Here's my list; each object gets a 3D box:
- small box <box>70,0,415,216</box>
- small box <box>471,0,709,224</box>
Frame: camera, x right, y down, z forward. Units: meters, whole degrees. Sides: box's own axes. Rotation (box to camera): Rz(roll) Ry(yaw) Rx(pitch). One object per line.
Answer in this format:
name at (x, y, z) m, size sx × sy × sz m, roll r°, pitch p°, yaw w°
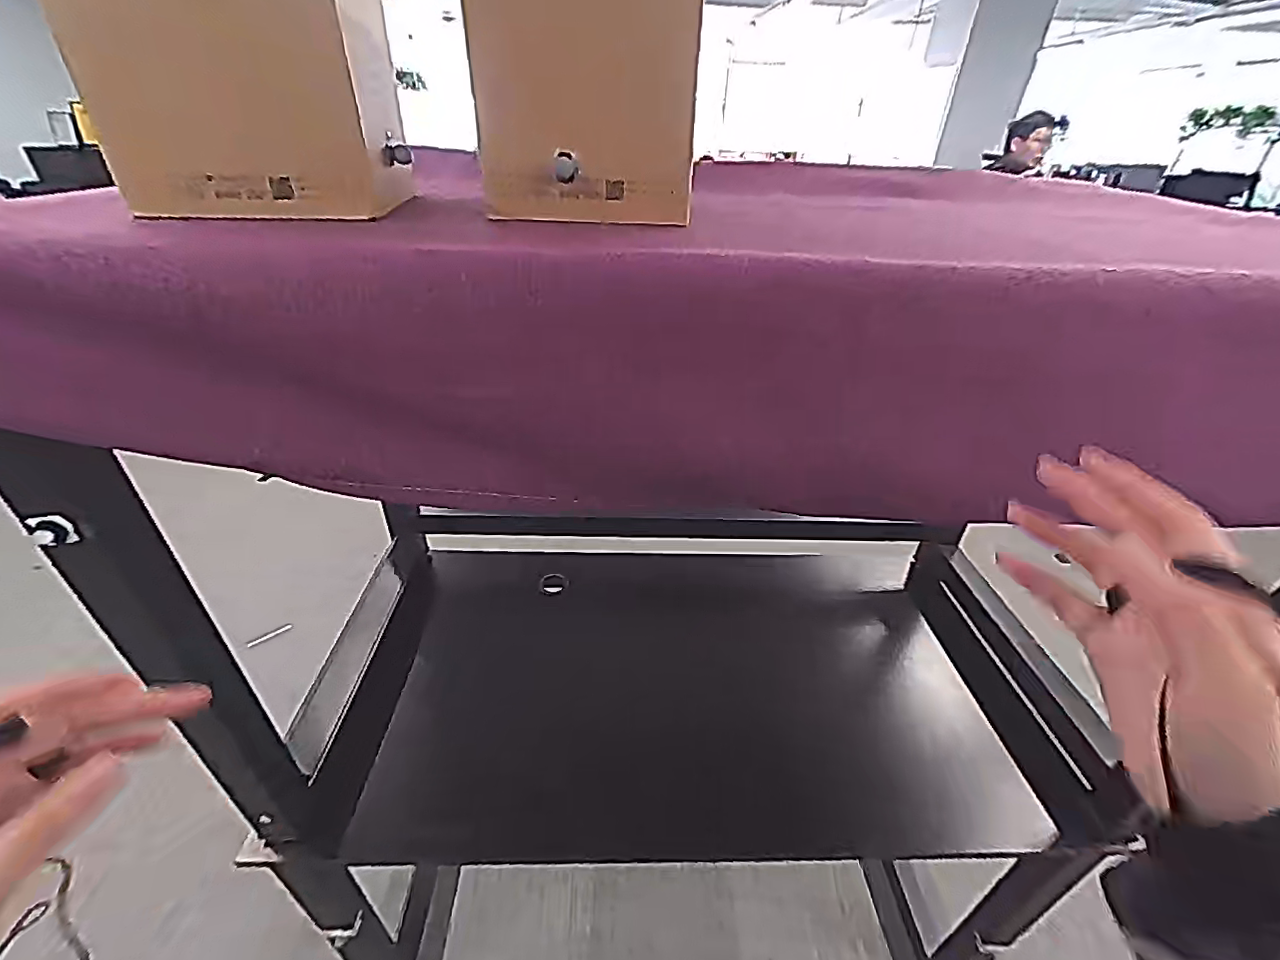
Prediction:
small box at (-0.282, -0.309, 0.416) m, size 0.168 × 0.176 × 0.179 m, roll -4°, pitch 33°, yaw -10°
small box at (-0.040, -0.325, 0.459) m, size 0.168 × 0.176 × 0.179 m, roll 0°, pitch 34°, yaw -3°
